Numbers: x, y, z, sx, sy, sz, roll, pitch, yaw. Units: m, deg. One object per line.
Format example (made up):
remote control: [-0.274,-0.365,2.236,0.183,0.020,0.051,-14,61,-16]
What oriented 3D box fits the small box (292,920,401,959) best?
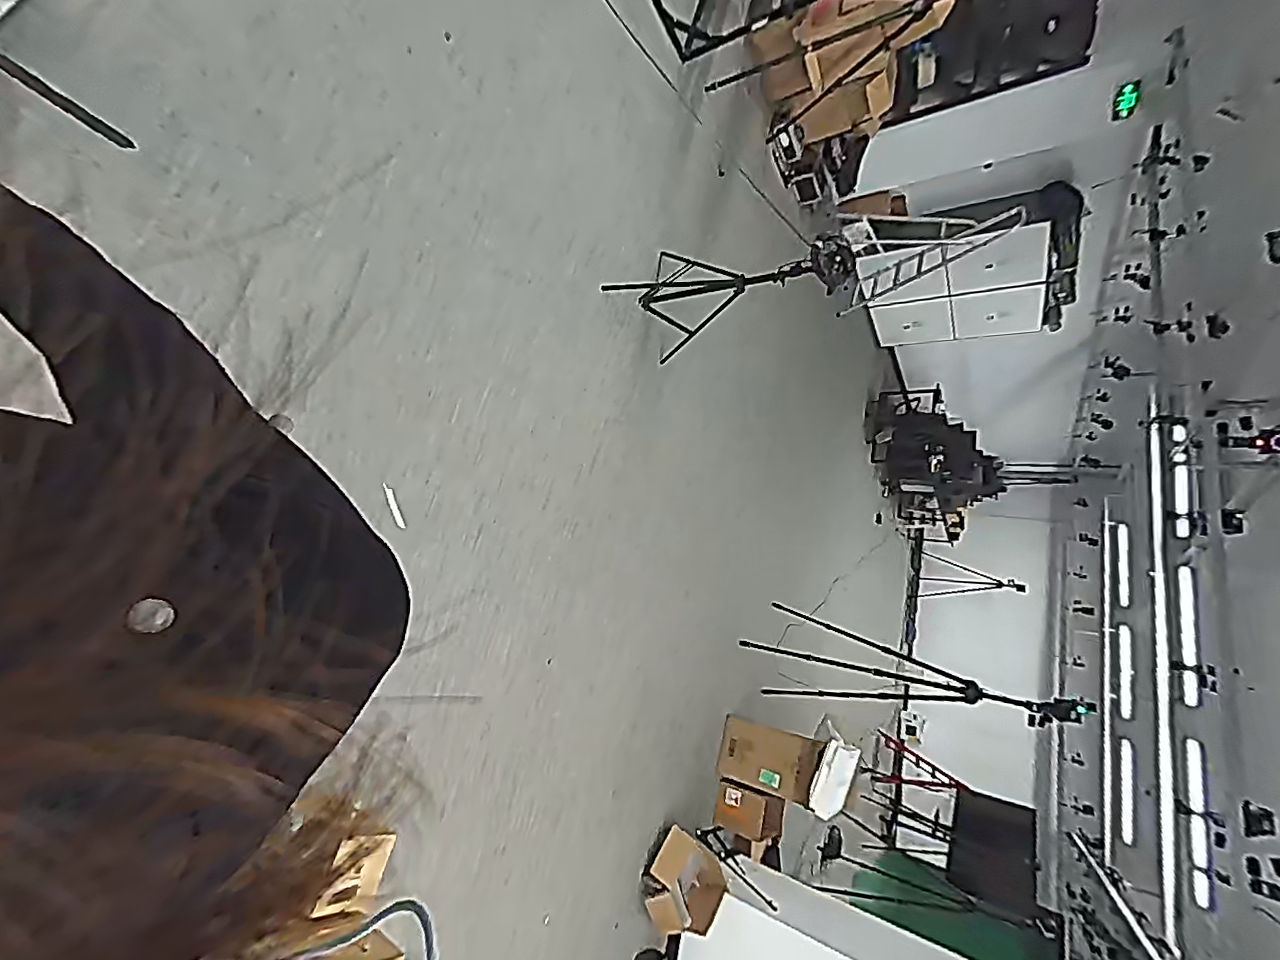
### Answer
small box: [-0.719,1.198,1.289,0.179,0.176,0.168,35,63,-52]

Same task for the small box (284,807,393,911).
small box: [-0.806,0.999,1.437,0.168,0.176,0.179,43,57,-48]
